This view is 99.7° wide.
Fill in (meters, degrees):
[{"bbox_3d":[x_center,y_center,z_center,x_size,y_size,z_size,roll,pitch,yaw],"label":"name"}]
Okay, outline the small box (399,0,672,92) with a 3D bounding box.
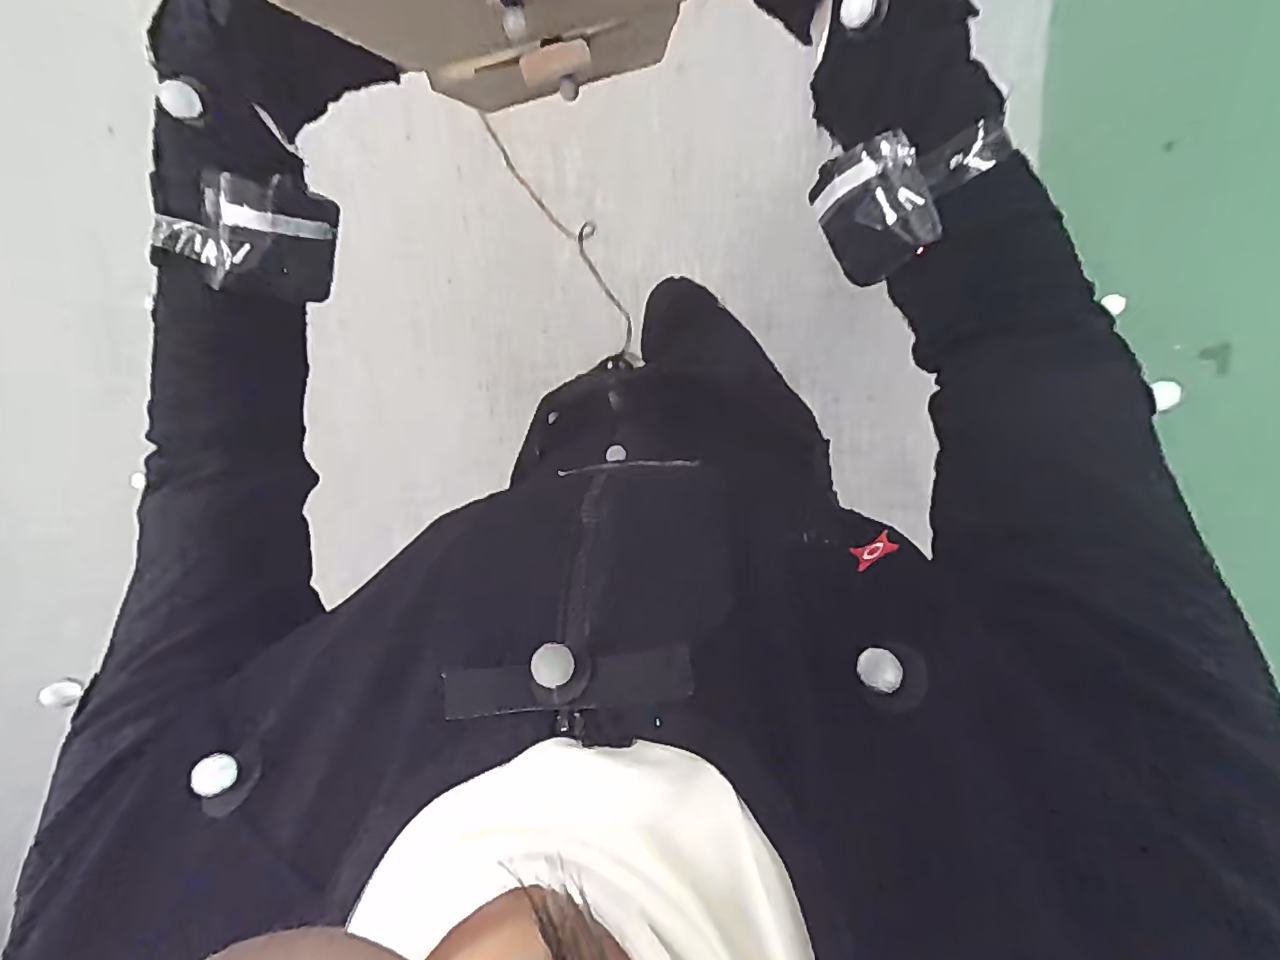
[{"bbox_3d":[-0.078,-0.384,0.363,0.168,0.176,0.179,-13,119,5],"label":"small box"}]
